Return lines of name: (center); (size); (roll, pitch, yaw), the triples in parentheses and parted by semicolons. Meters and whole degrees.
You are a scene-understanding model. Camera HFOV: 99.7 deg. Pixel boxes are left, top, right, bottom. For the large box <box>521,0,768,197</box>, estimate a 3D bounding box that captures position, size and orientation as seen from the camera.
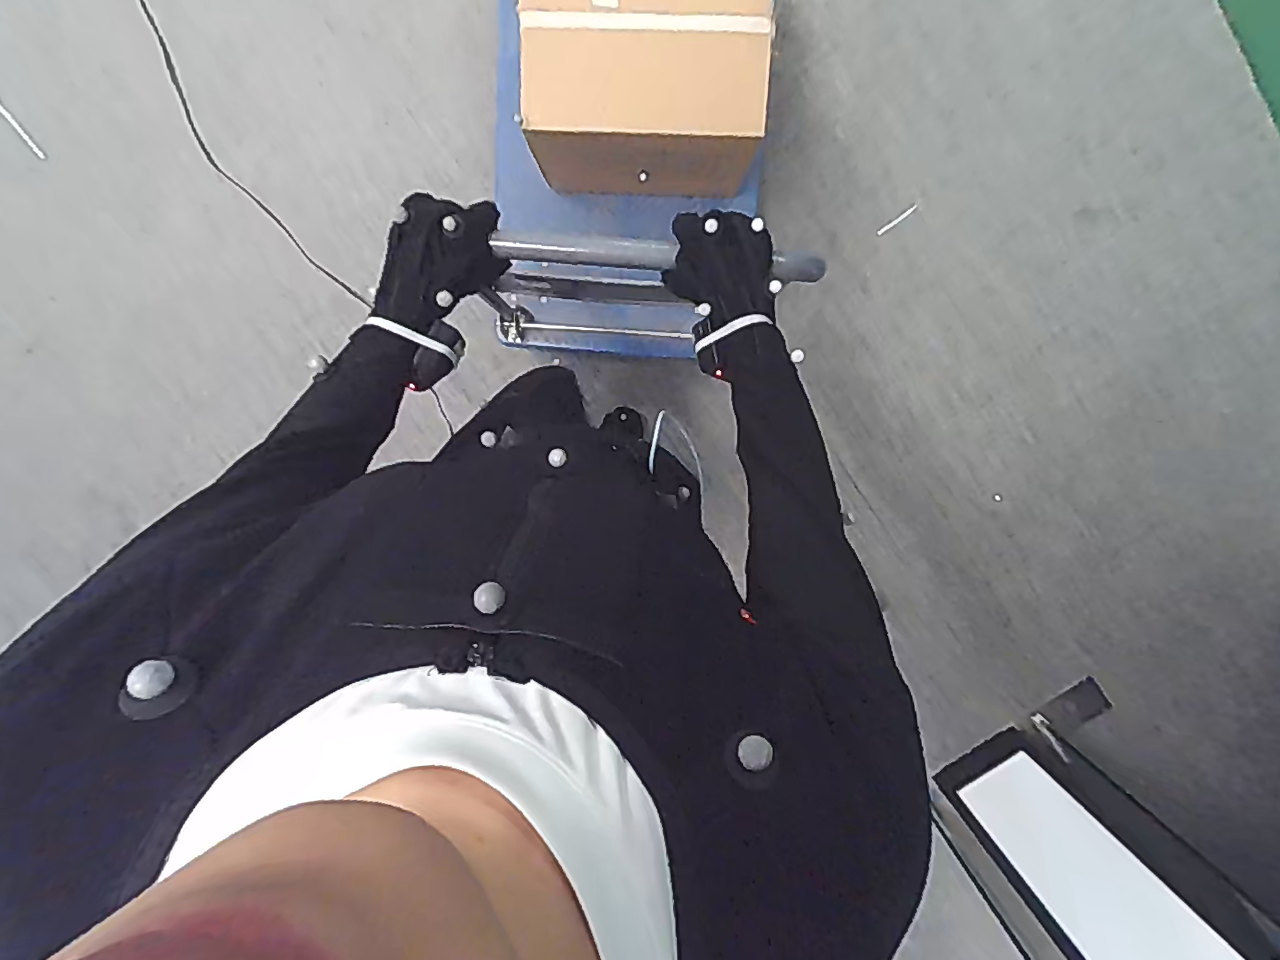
large box: (0.008, -0.744, 1.019); (0.408, 0.320, 0.320); (1, 100, 0)
